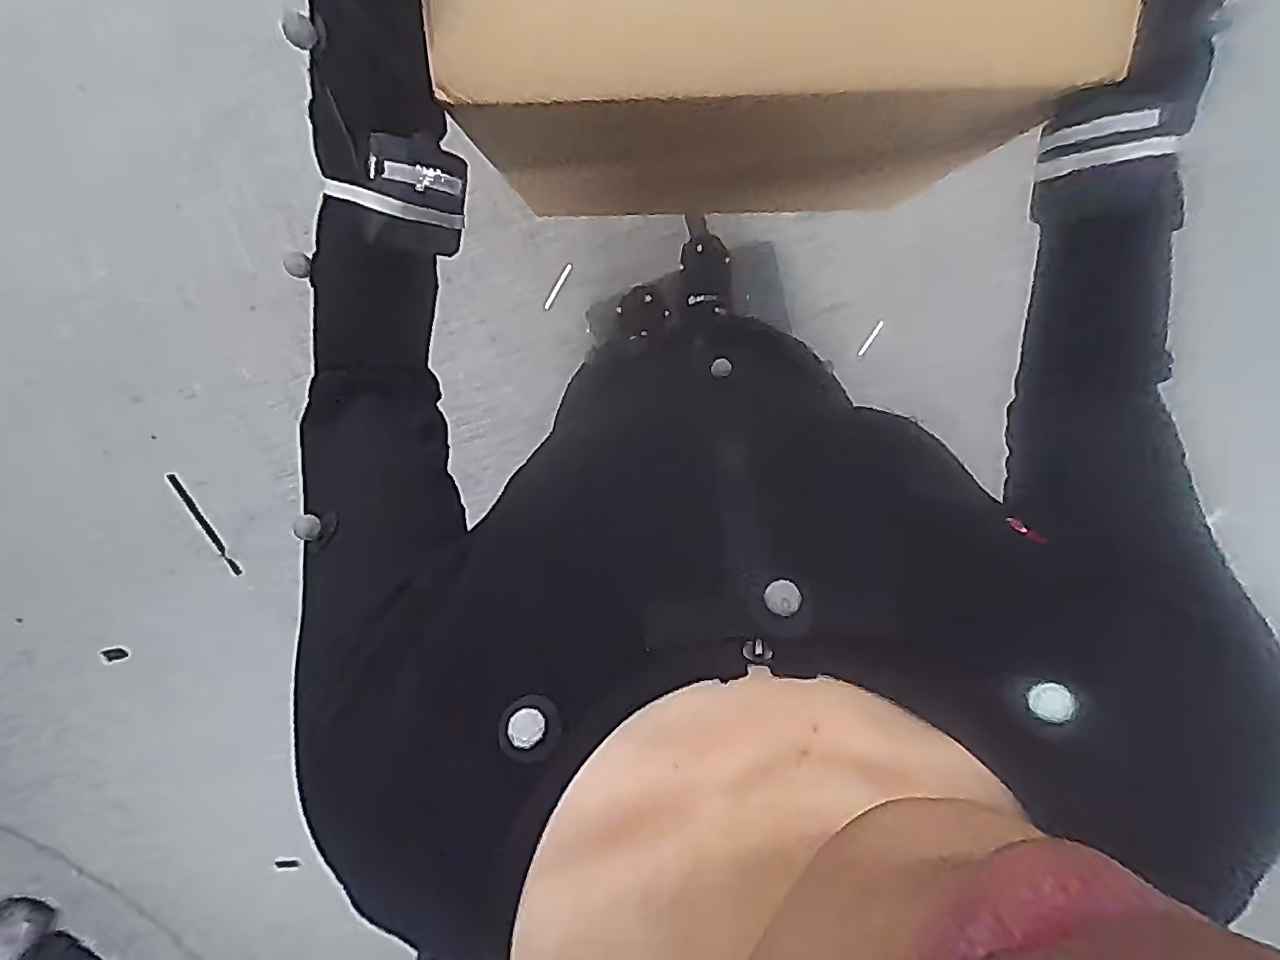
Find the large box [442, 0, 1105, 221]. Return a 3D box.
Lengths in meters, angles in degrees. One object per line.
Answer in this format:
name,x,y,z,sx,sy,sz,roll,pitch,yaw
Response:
large box,0.074,-0.419,0.443,0.408,0.320,0.320,-1,104,0
